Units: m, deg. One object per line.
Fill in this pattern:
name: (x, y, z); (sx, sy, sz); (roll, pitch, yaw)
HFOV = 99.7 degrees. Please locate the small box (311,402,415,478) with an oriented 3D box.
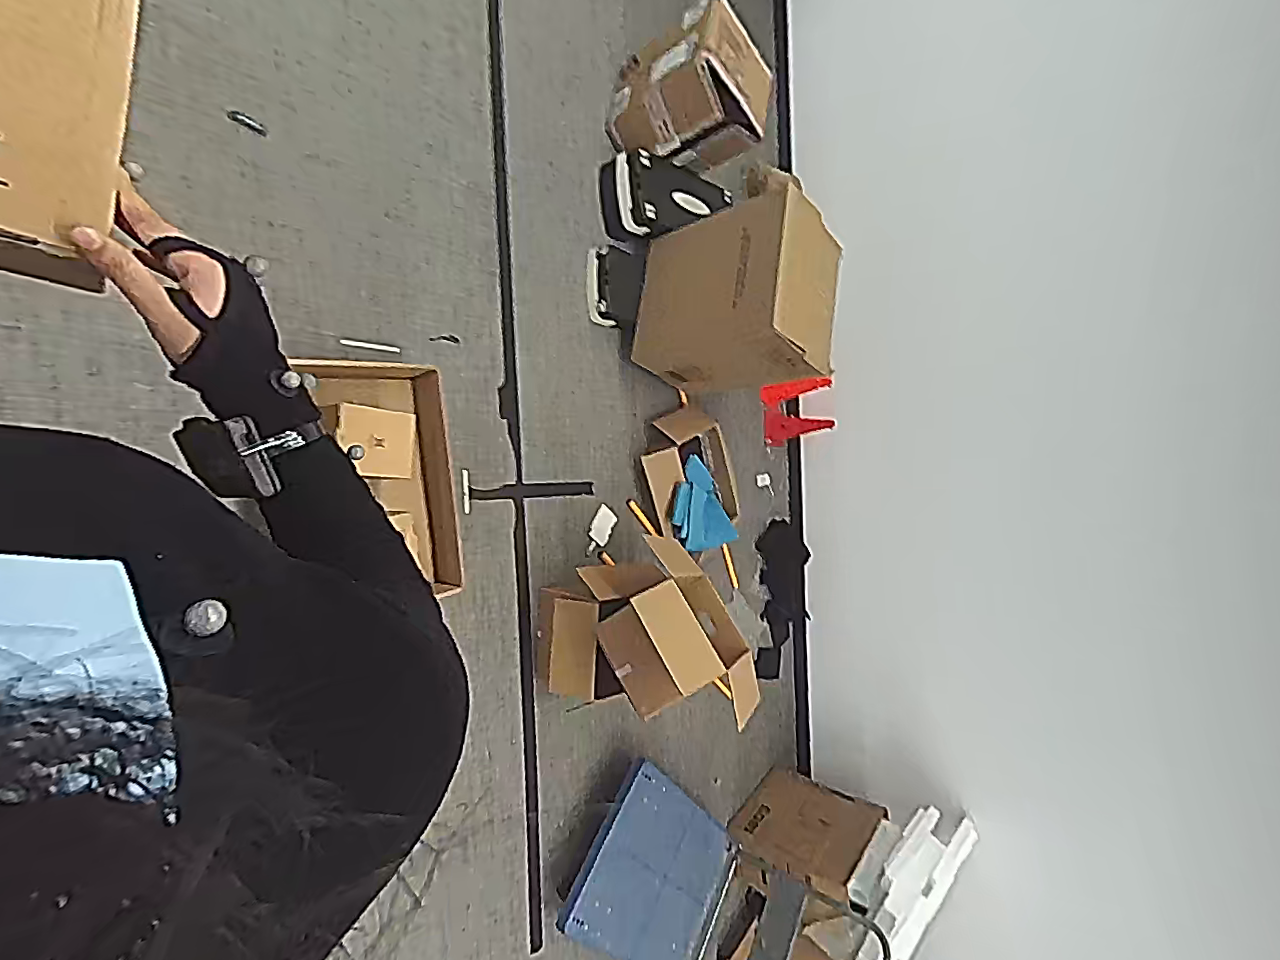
small box: (-0.686, -0.094, 1.341); (0.179, 0.176, 0.168); (6, 87, -47)

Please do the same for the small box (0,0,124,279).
small box: (-0.445, -0.243, 0.335); (0.168, 0.176, 0.179); (7, 91, -47)
